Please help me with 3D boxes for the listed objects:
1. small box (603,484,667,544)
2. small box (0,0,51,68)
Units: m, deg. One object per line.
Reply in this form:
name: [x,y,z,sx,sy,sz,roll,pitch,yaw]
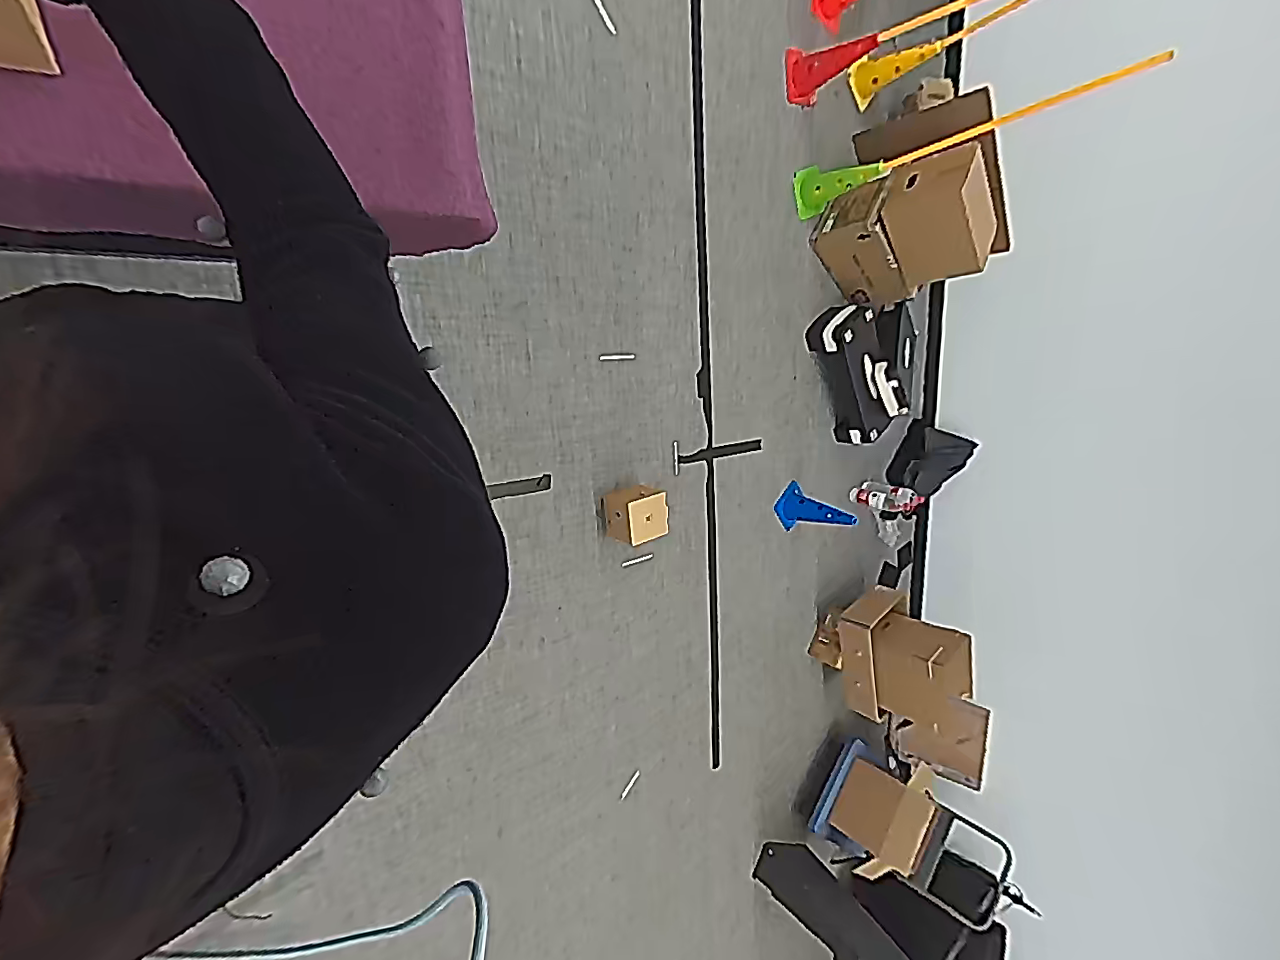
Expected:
small box: [-0.024,0.122,2.017,0.179,0.176,0.168,-17,109,-35]
small box: [-0.660,-0.485,0.453,0.179,0.176,0.168,-18,109,-36]
